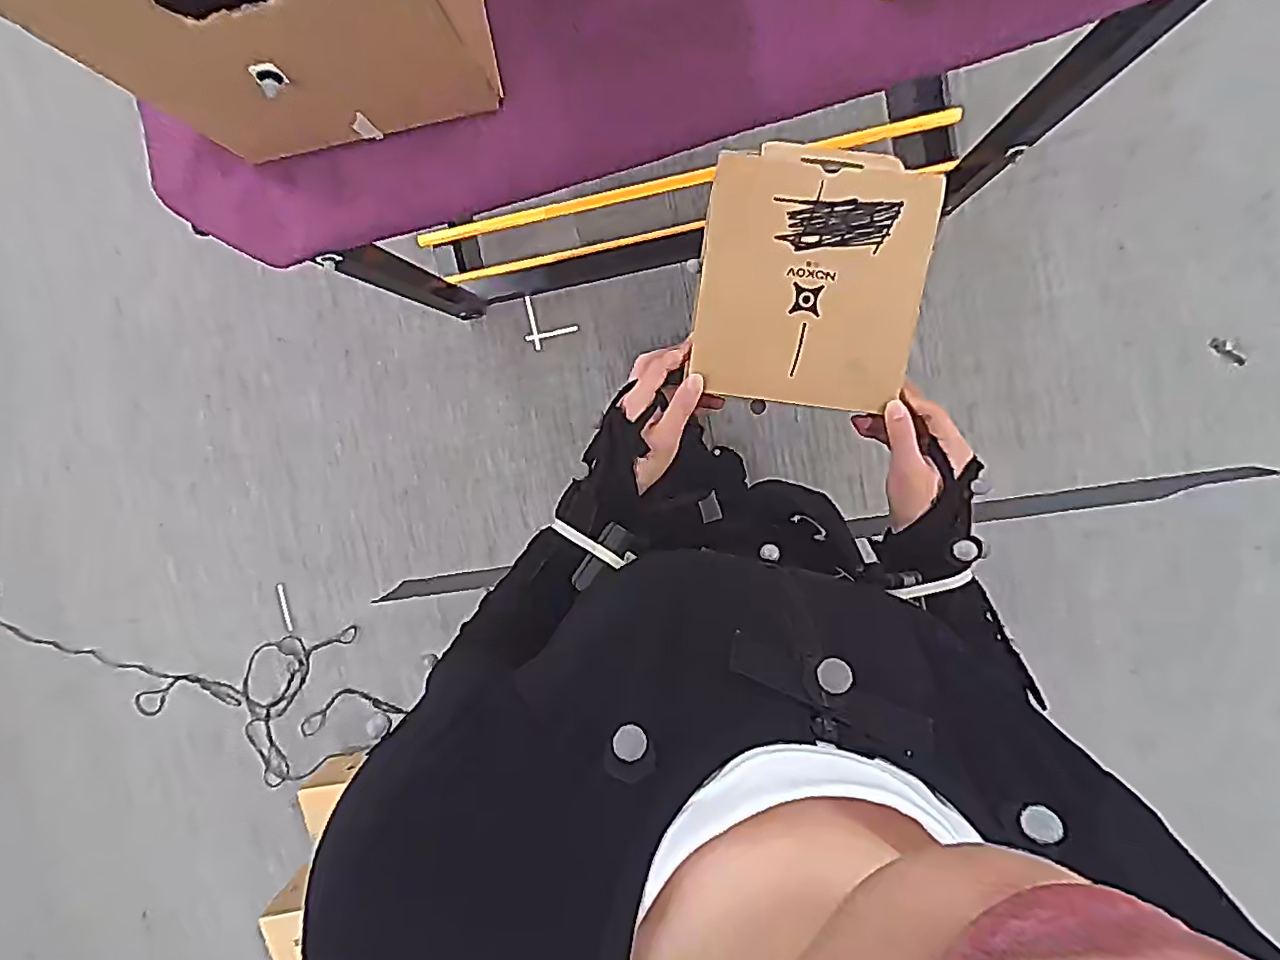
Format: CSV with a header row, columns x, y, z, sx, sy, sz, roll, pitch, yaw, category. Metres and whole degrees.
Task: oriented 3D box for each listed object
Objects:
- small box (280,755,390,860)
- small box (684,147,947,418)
x,y,z,sx,sy,sz,roll,pitch,yaw,category
-0.794,0.857,1.420,0.179,0.176,0.168,15,84,-6,small box
0.134,-0.163,0.484,0.168,0.176,0.179,10,105,4,small box
